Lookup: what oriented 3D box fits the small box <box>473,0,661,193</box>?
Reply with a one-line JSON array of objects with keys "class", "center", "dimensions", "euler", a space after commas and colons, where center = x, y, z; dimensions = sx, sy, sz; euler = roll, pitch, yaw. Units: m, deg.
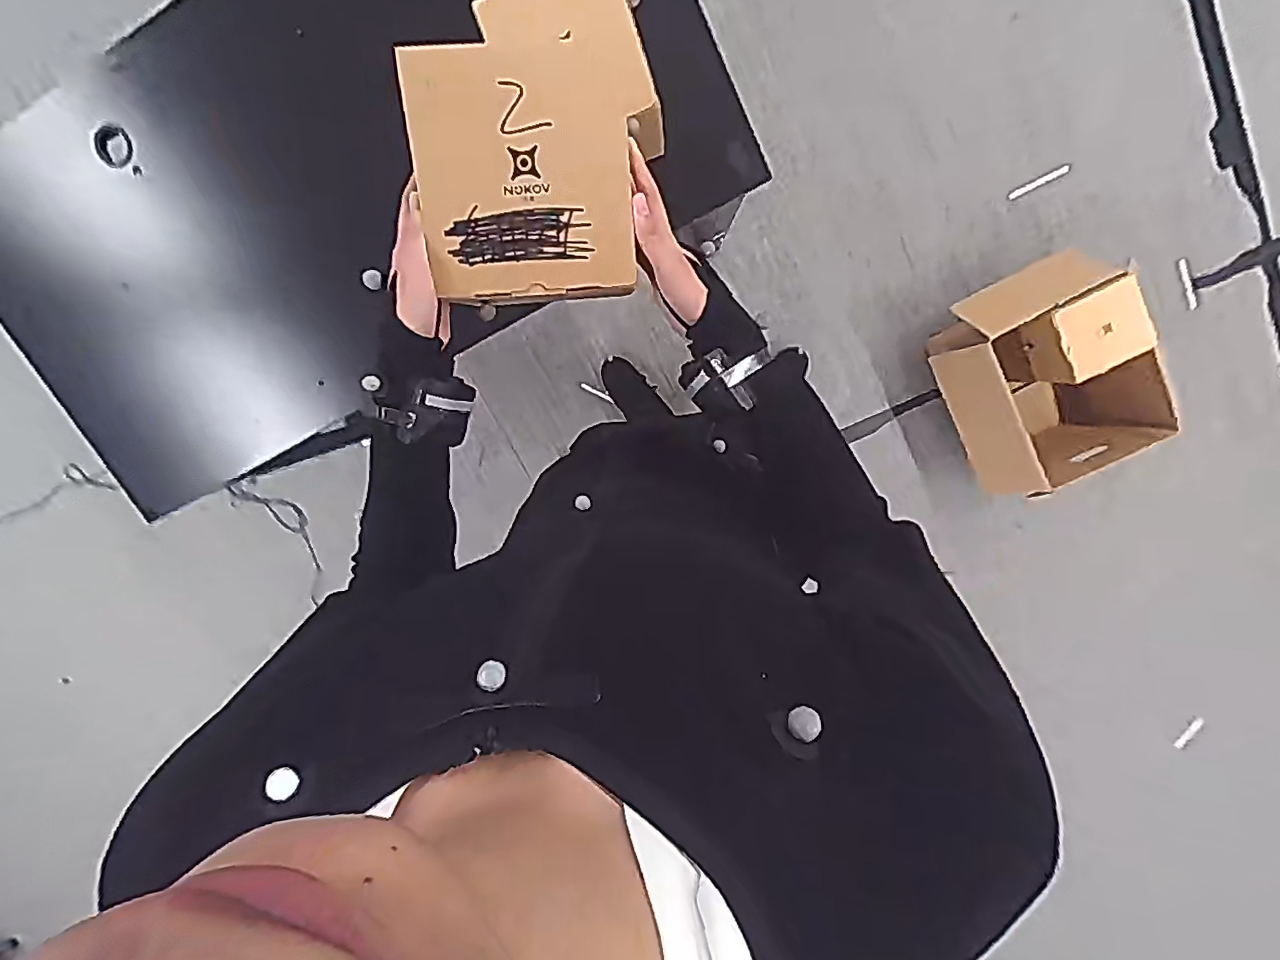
[{"class": "small box", "center": [-0.078, -0.498, 0.682], "dimensions": [0.168, 0.176, 0.179], "euler": [-18, 102, 9]}]
